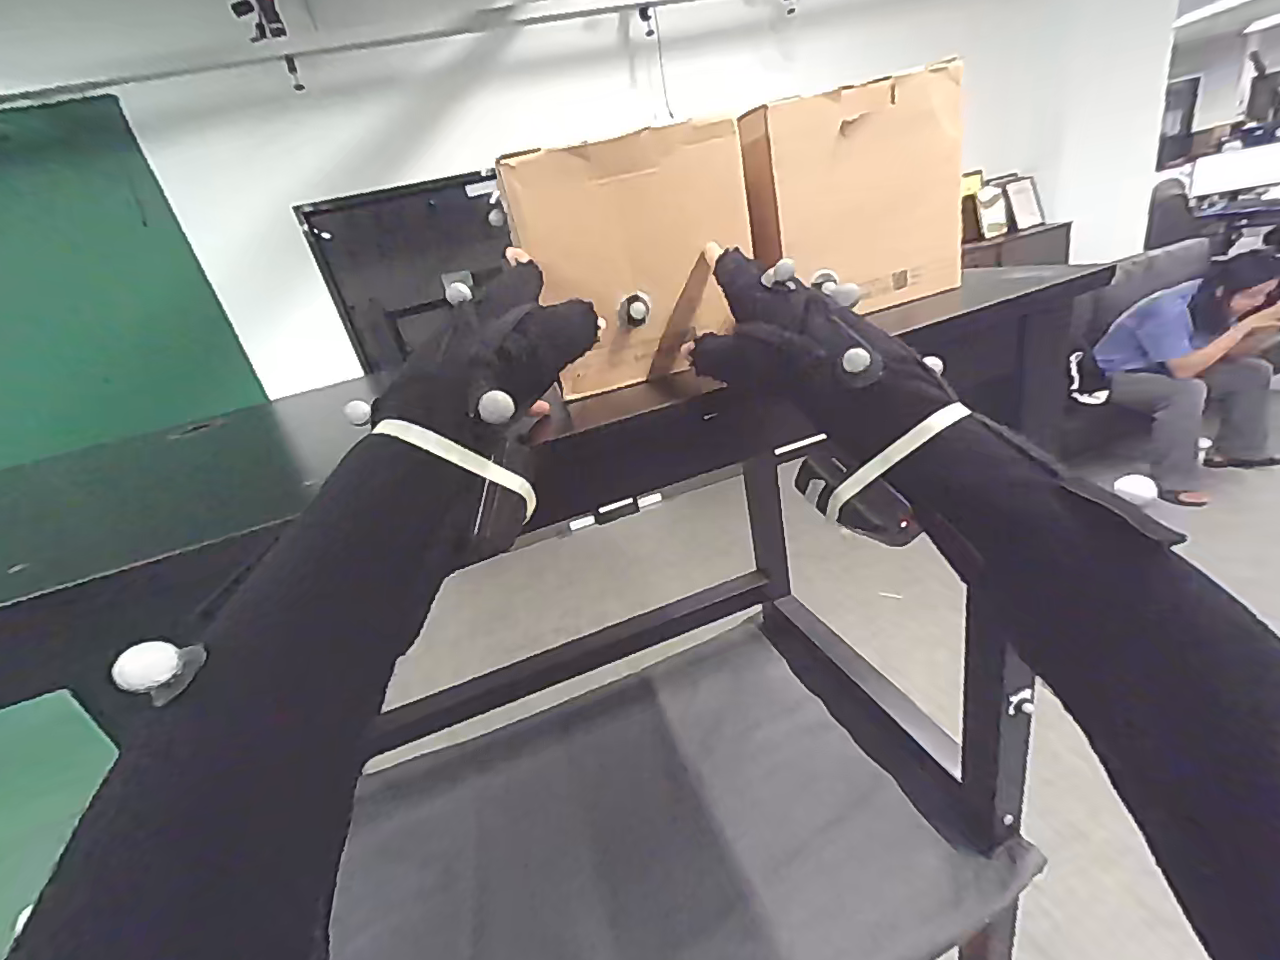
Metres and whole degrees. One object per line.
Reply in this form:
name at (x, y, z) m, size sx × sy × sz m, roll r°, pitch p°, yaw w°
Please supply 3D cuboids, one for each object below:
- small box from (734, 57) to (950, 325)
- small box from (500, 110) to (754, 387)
small box at (0.160, -0.248, 0.505) m, size 0.168 × 0.176 × 0.179 m, roll -18°, pitch 21°, yaw -9°
small box at (-0.015, -0.188, 0.469) m, size 0.168 × 0.176 × 0.179 m, roll -16°, pitch 23°, yaw -7°
